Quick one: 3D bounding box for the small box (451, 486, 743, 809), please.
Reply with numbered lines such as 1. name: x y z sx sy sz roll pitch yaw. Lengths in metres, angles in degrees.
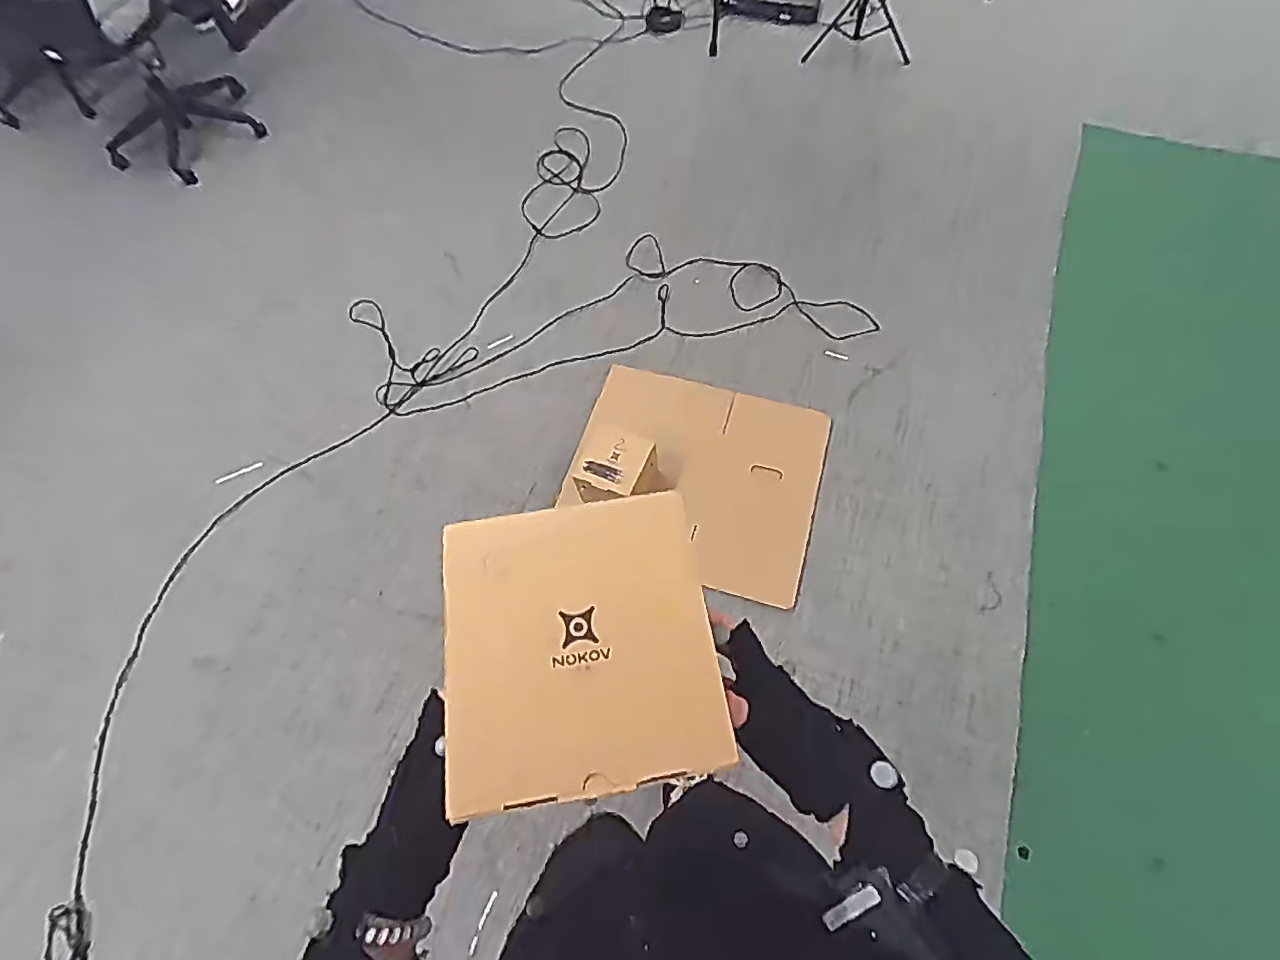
1. small box: -0.036 0.126 0.410 0.168 0.176 0.179 -9 67 -5
